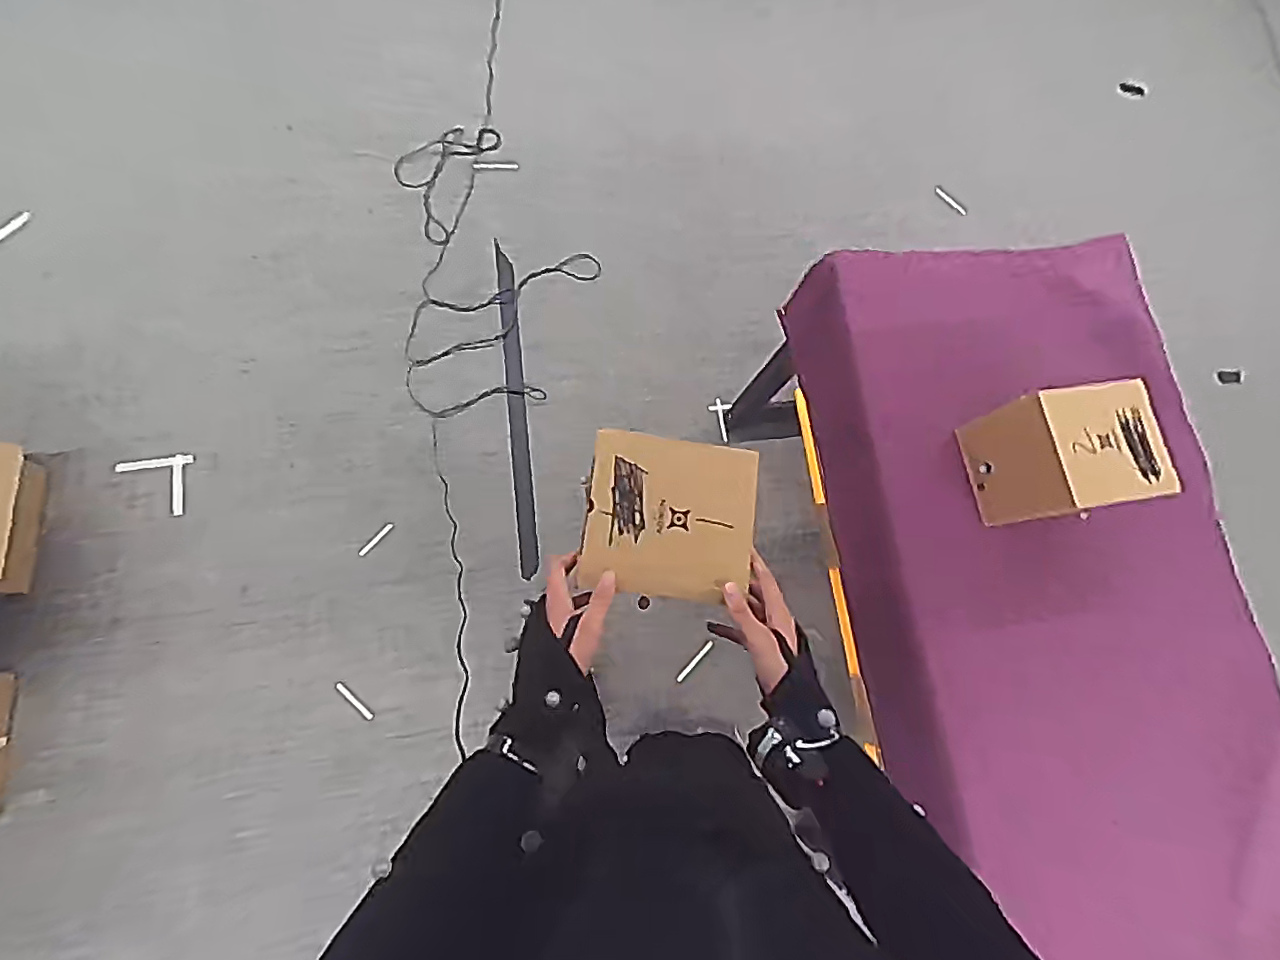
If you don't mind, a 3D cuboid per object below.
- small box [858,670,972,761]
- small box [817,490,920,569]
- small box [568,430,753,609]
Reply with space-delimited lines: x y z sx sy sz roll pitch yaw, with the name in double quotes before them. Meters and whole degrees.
"small box" 0.654 0.564 1.316 0.179 0.176 0.168 -5 77 -11
"small box" 0.587 0.134 1.410 0.168 0.176 0.179 -8 78 -10
"small box" 0.016 0.054 0.625 0.179 0.176 0.168 8 79 -6
